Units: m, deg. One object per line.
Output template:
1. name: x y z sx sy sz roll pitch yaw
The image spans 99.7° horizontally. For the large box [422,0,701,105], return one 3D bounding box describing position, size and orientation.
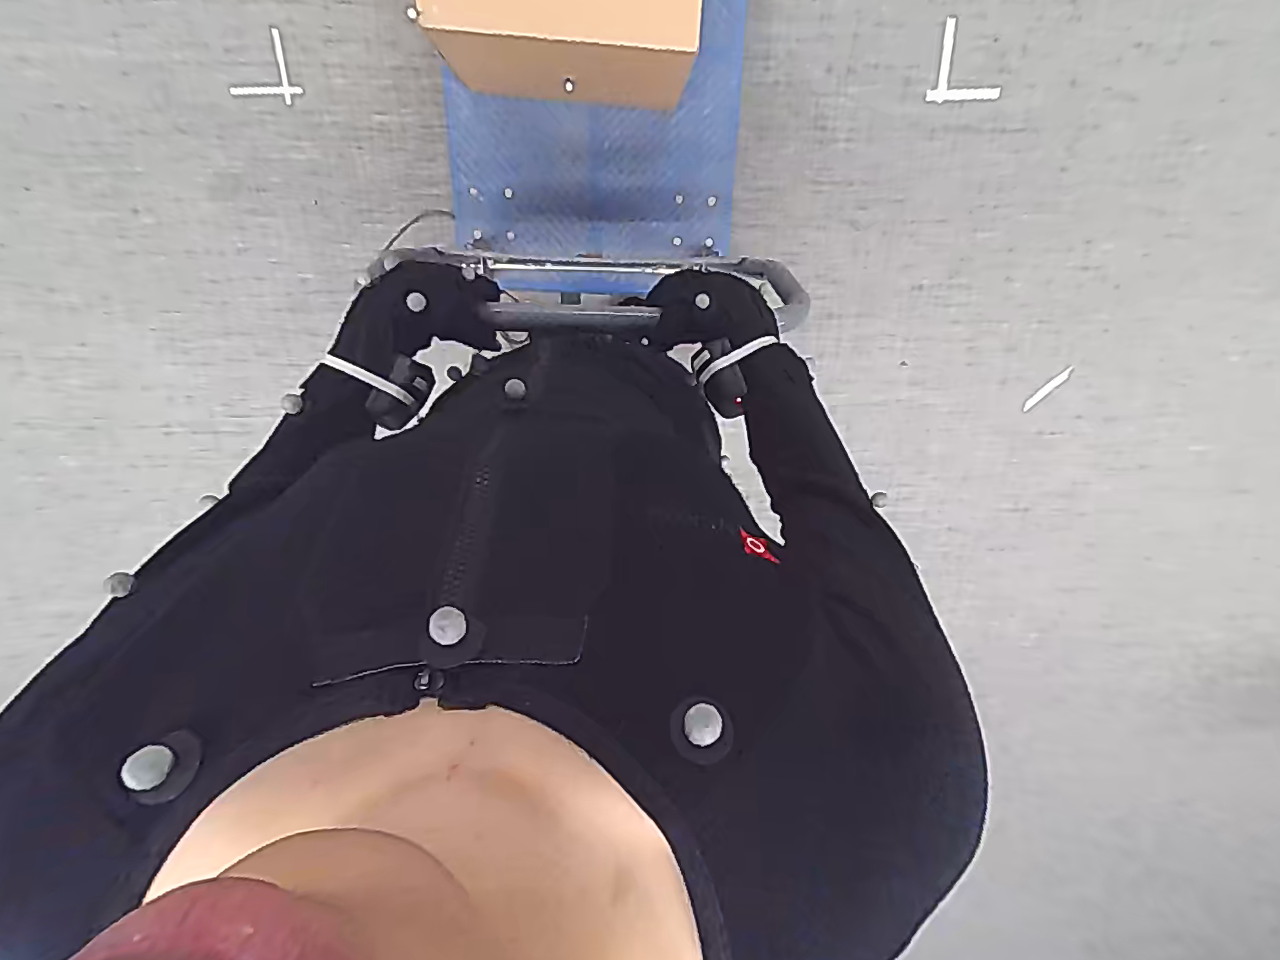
1. large box: -0.111 -0.835 0.876 0.408 0.320 0.320 2 110 -3
